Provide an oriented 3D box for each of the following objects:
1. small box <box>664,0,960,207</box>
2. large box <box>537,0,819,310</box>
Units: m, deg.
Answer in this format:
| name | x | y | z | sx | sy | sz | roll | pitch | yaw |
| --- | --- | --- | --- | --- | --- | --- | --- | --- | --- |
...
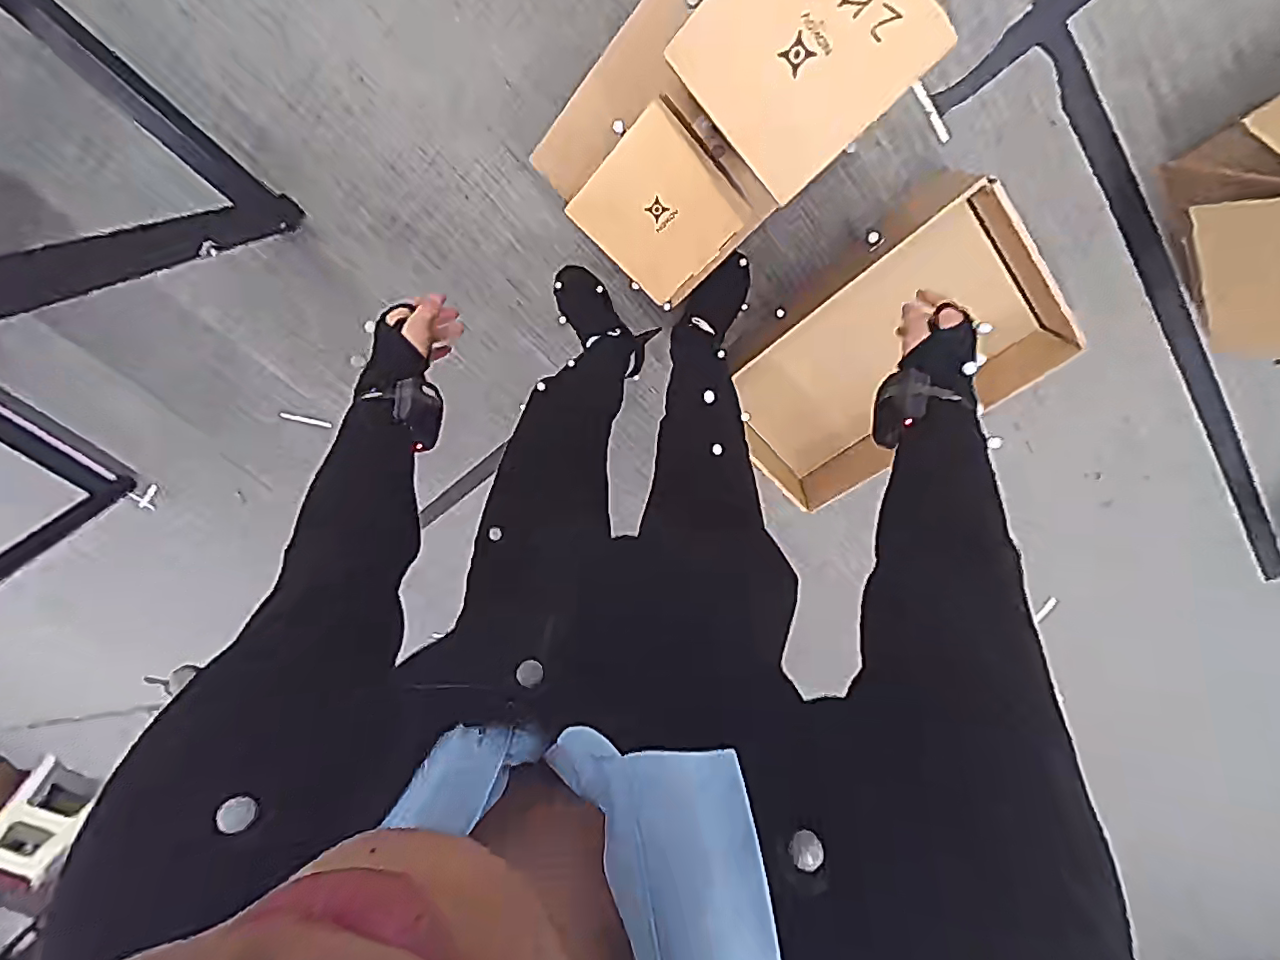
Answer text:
| name | x | y | z | sx | sy | sz | roll | pitch | yaw |
| --- | --- | --- | --- | --- | --- | --- | --- | --- | --- |
| small box | 0.144 | -0.392 | 0.498 | 0.179 | 0.176 | 0.168 | -37 | 114 | 28 |
| large box | 0.102 | -0.569 | 0.880 | 0.320 | 0.320 | 0.408 | 41 | 120 | -19 |
